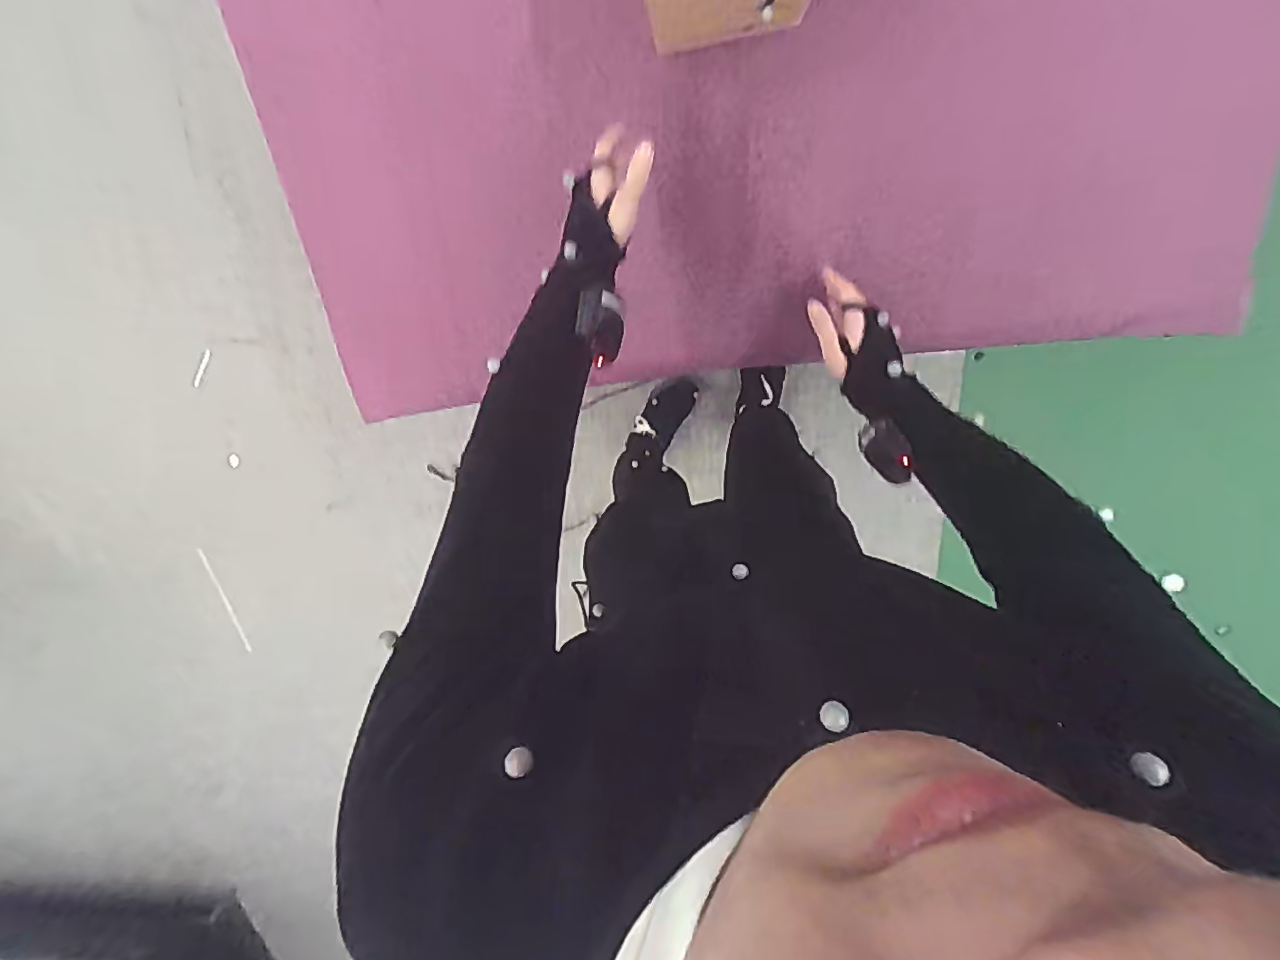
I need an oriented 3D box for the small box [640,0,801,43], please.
[{"bbox_3d":[0.078,-0.557,0.519,0.168,0.176,0.179,-5,112,9],"label":"small box"}]
